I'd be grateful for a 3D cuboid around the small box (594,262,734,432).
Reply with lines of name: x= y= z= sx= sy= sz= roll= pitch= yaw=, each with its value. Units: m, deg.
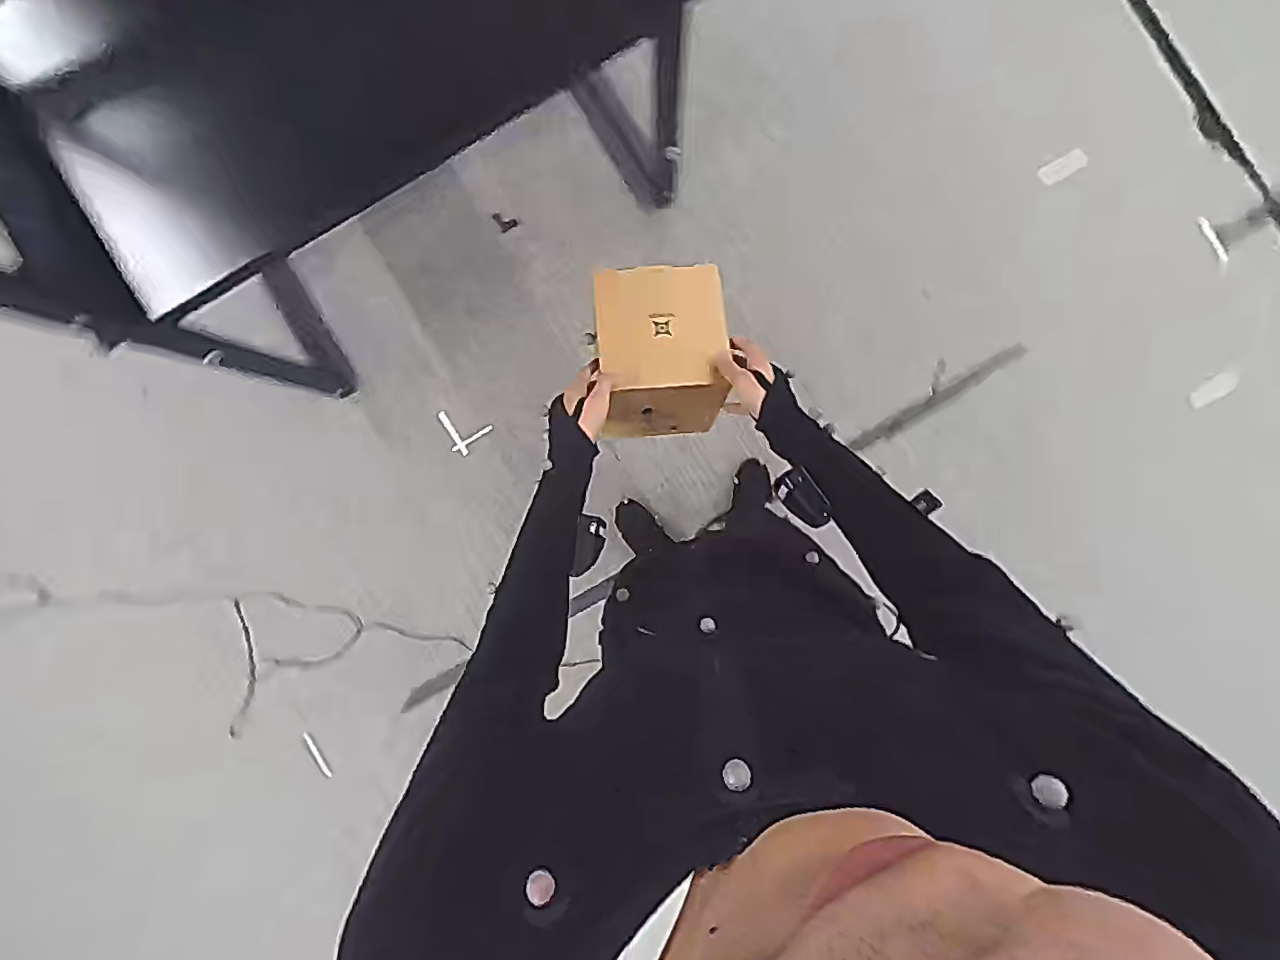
small box: x=0.025 y=-0.173 z=0.749 sx=0.168 sy=0.176 sz=0.179 roll=-3 pitch=72 yaw=-4
